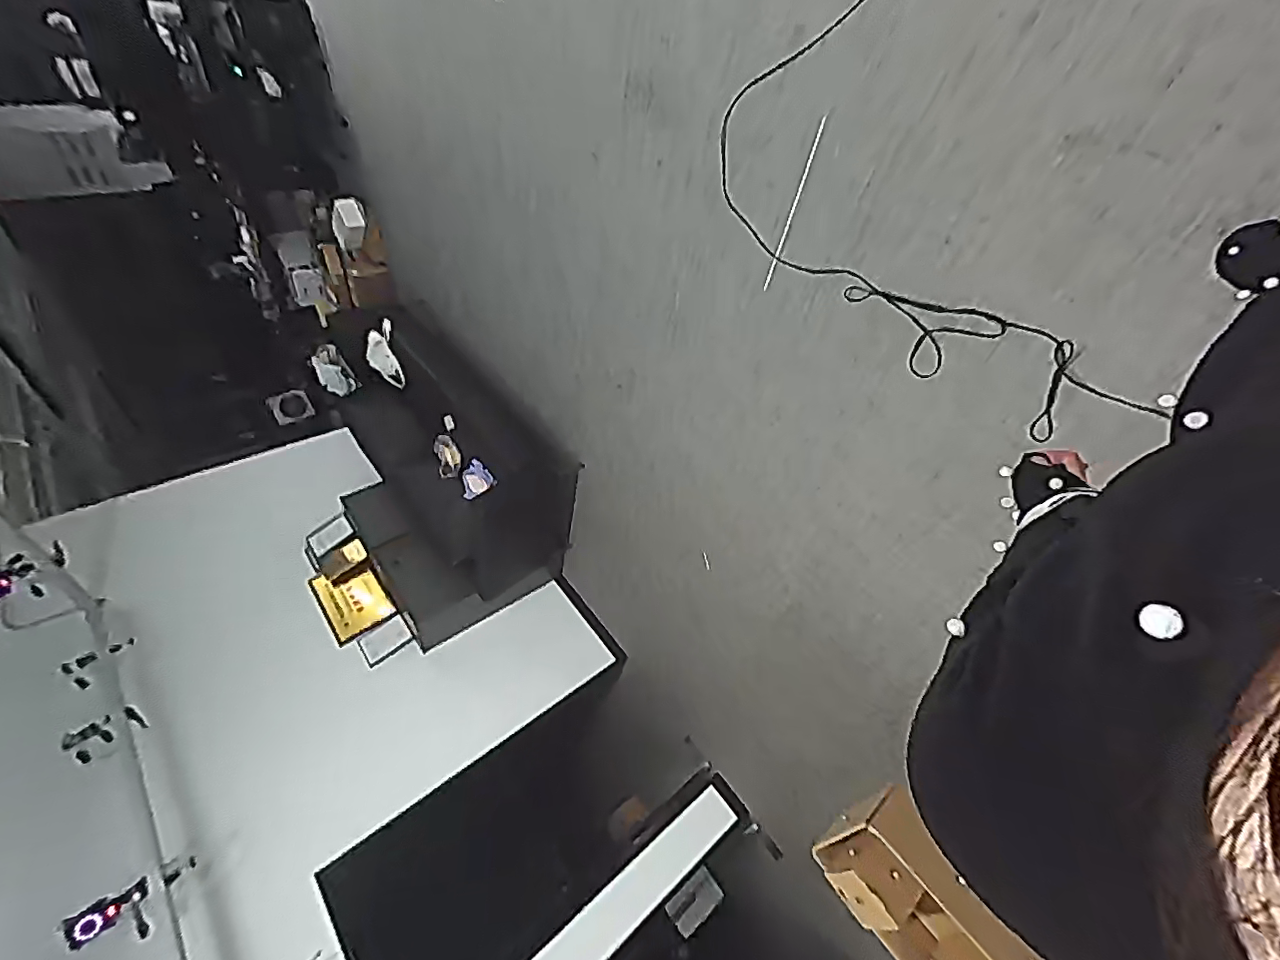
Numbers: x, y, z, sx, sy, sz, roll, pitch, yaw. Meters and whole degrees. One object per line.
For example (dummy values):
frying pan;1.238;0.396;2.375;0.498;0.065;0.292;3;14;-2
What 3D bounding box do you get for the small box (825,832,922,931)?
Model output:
small box;0.685;1.163;1.575;0.168;0.176;0.179;51;144;22
